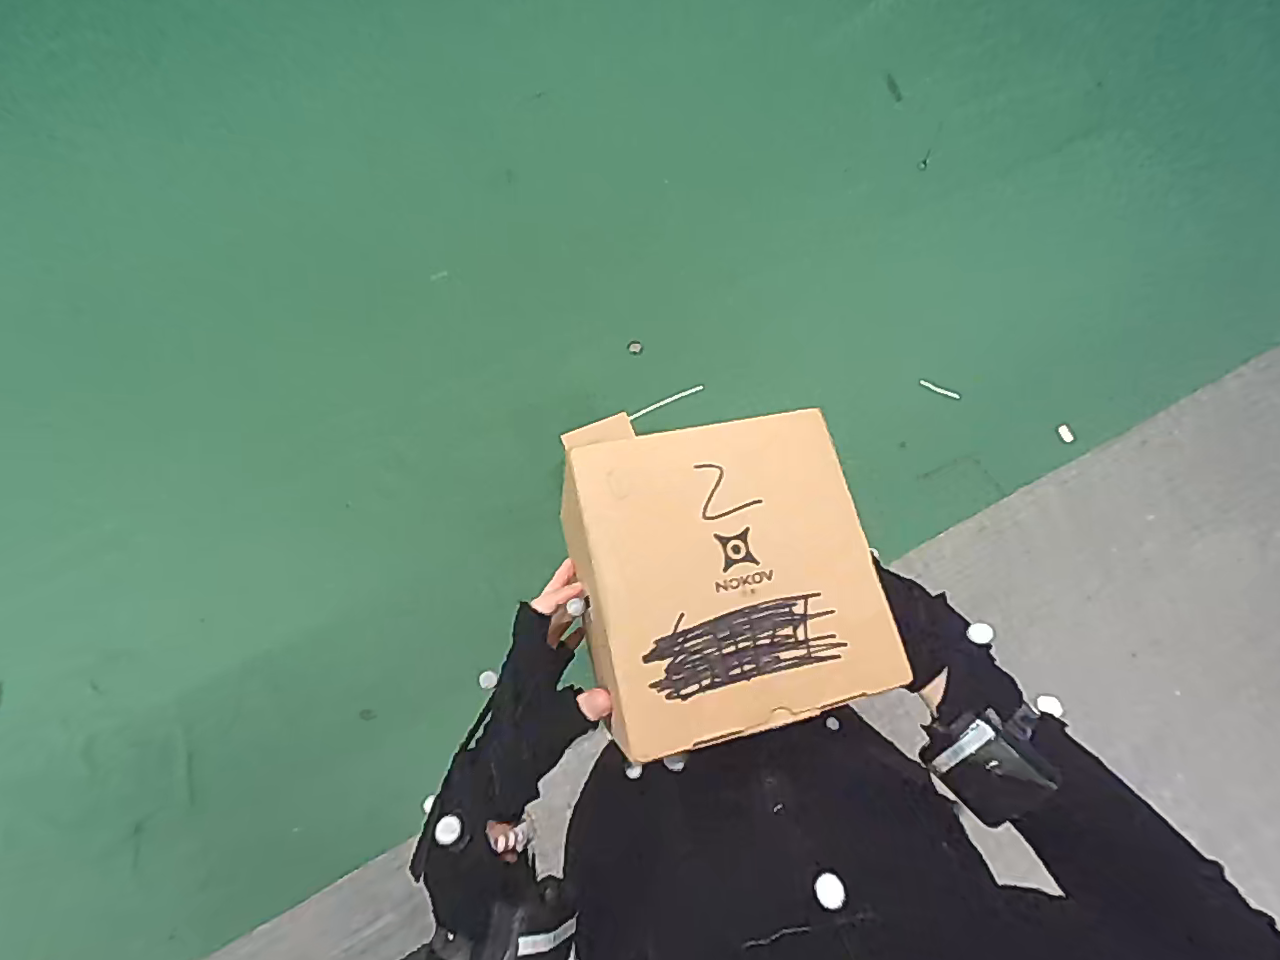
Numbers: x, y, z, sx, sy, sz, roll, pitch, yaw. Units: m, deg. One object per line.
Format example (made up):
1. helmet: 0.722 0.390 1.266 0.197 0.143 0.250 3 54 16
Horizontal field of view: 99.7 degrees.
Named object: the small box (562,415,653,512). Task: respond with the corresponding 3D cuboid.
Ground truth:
1. small box: -0.079 -0.031 1.327 0.168 0.176 0.179 -22 80 -9
